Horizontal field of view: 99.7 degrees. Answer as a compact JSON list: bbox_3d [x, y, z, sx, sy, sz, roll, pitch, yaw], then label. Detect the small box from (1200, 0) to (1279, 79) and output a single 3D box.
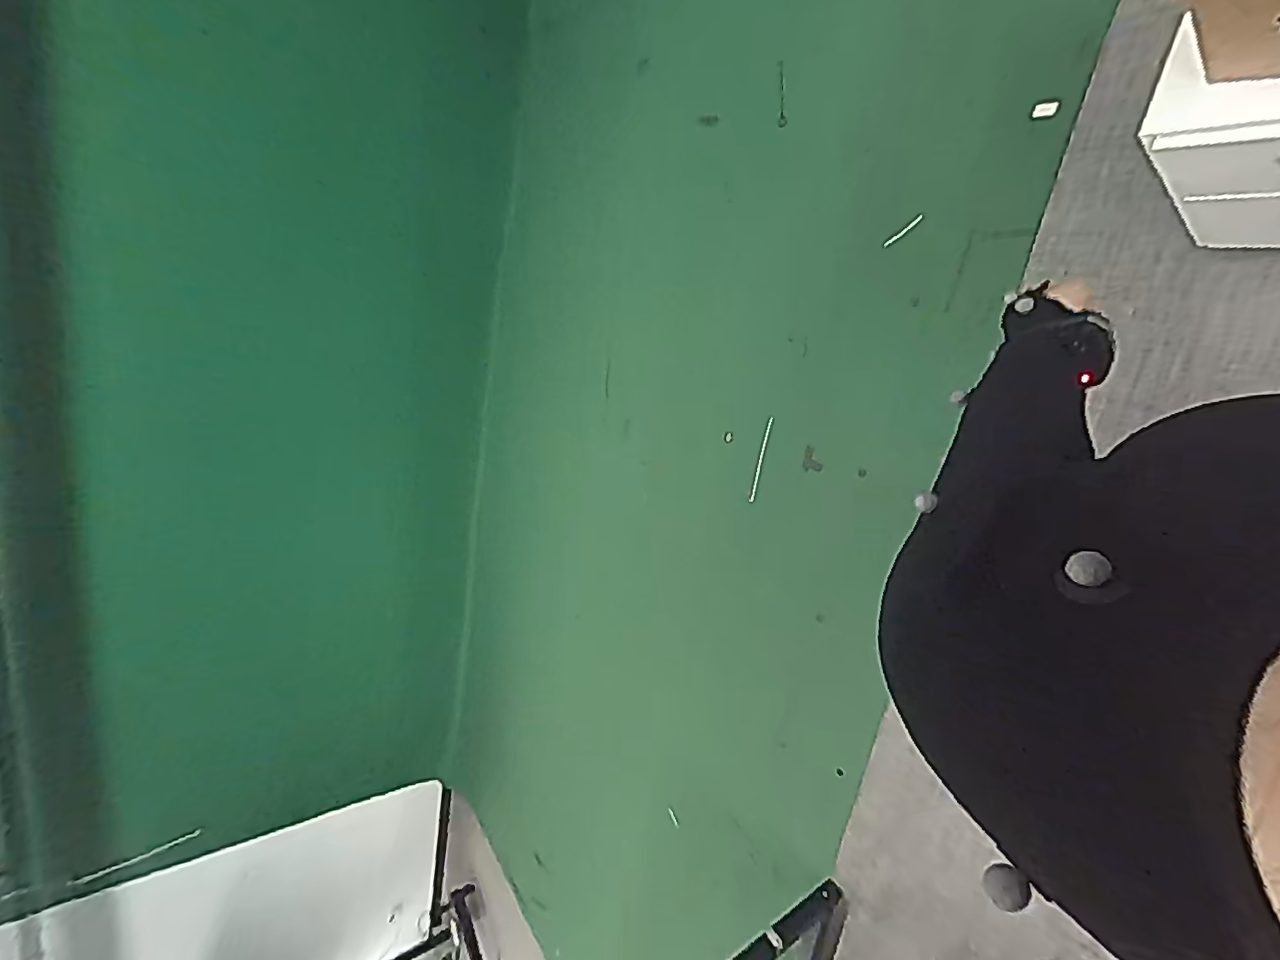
[{"bbox_3d":[0.697,-0.522,0.523,0.179,0.176,0.168,35,116,44],"label":"small box"}]
